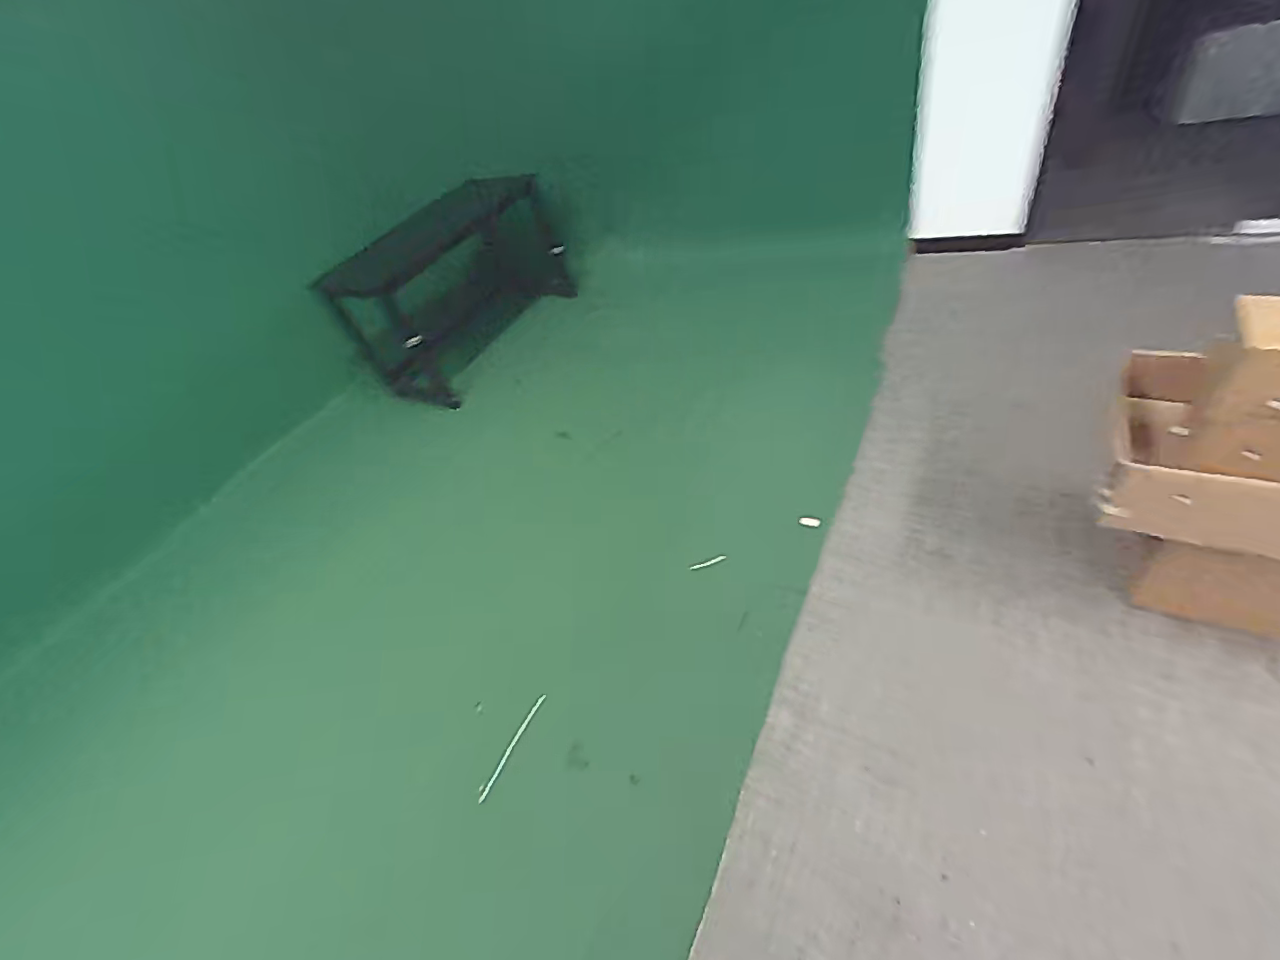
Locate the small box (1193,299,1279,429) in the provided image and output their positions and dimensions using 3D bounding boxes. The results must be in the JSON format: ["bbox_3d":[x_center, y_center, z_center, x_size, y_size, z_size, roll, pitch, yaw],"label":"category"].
[{"bbox_3d":[1.186,-0.218,1.015,0.168,0.176,0.179,13,53,30],"label":"small box"}]
